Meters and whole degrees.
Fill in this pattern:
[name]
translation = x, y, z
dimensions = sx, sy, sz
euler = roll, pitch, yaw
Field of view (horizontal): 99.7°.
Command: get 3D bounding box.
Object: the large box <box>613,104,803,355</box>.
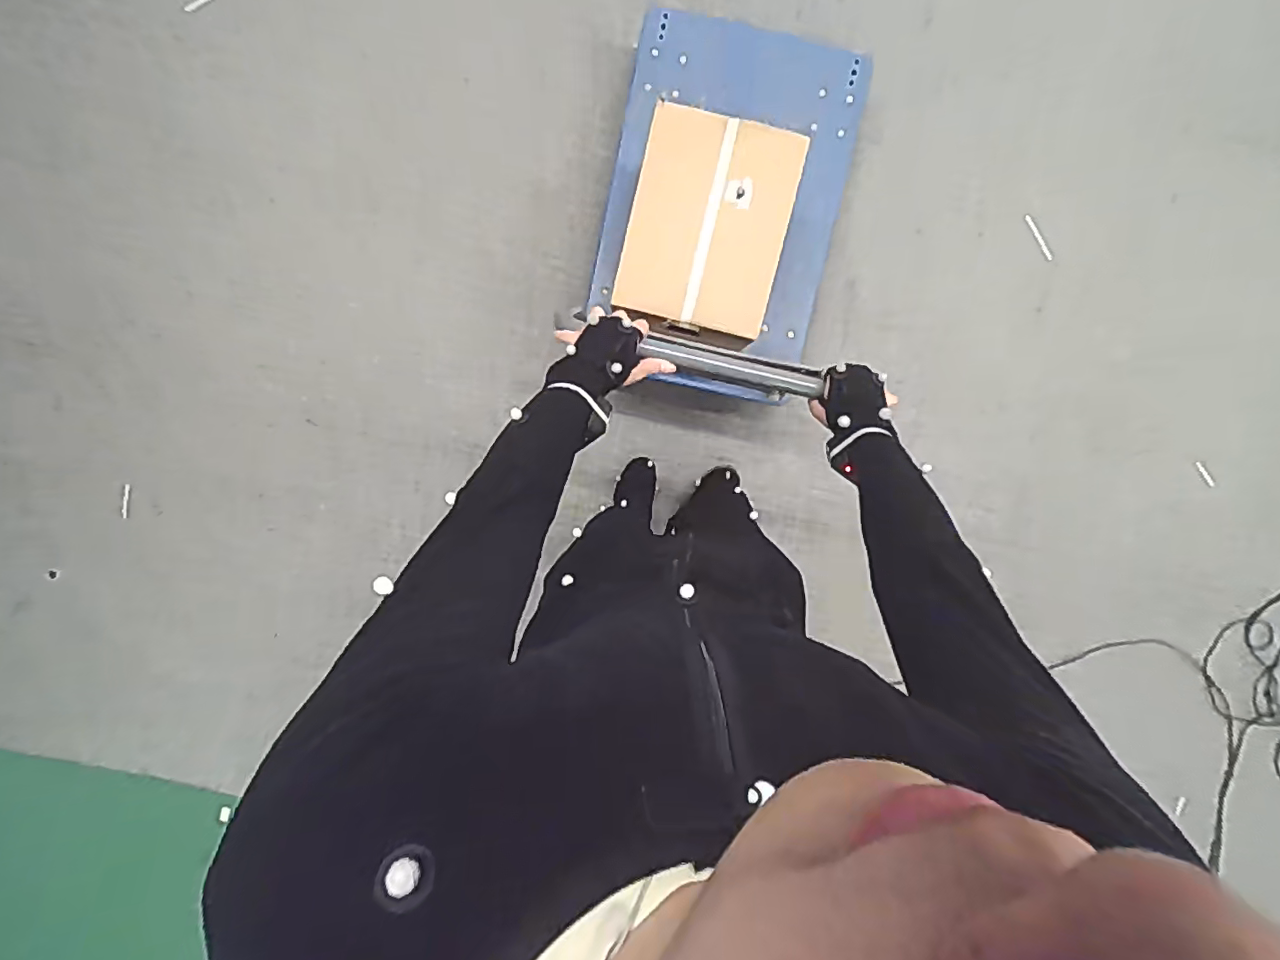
[large box]
translation = 0.135, -0.530, 1.232
dimensions = 0.320, 0.320, 0.408
euler = 13, 95, -2
